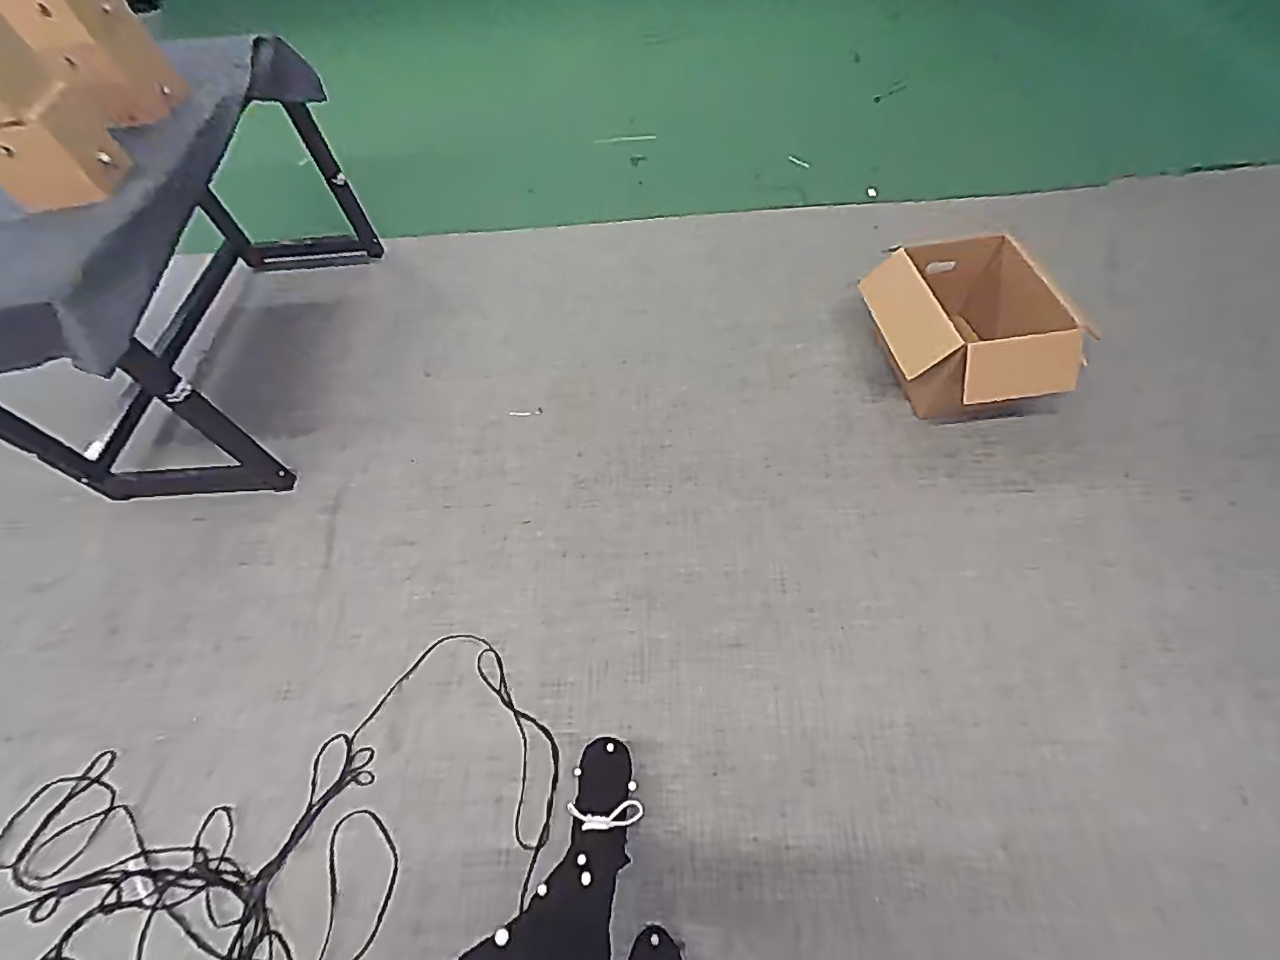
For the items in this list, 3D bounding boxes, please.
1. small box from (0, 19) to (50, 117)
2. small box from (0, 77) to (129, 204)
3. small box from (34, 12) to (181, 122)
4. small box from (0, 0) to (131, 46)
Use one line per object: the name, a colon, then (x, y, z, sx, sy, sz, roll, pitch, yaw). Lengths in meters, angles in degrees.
small box: (-1.295, -0.802, 1.015, 0.168, 0.176, 0.179, -7, 57, -1)
small box: (-1.268, -0.715, 1.150, 0.179, 0.176, 0.168, -11, 58, -3)
small box: (-1.303, -1.022, 1.343, 0.168, 0.176, 0.179, -2, 58, 4)
small box: (-1.318, -1.108, 1.199, 0.168, 0.176, 0.179, -1, 59, 4)
